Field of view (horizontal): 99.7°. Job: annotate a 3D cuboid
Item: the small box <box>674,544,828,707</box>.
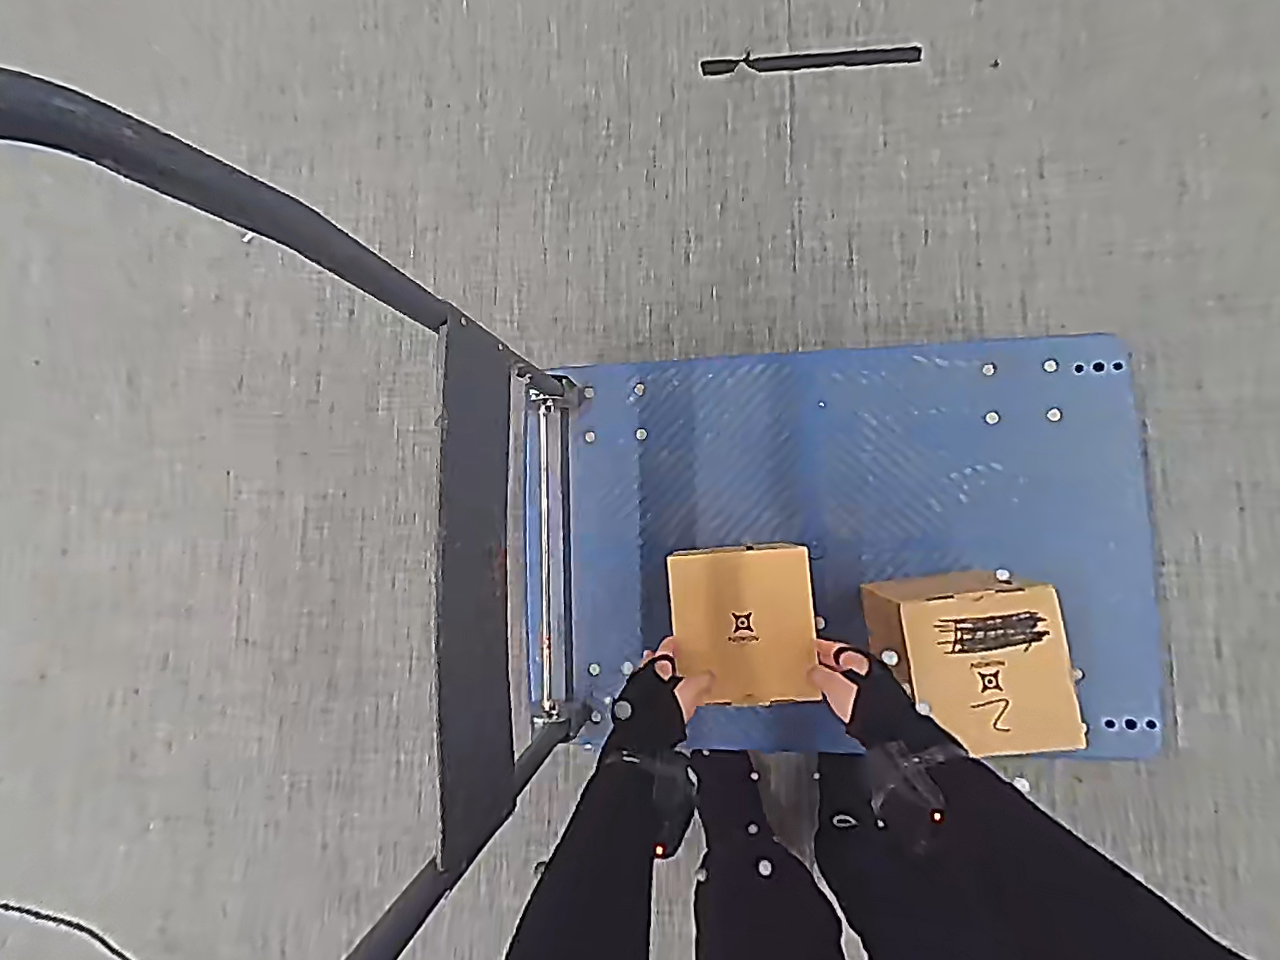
[{"bbox_3d":[0.131,0.175,0.700,0.168,0.176,0.179,-5,85,5],"label":"small box"}]
